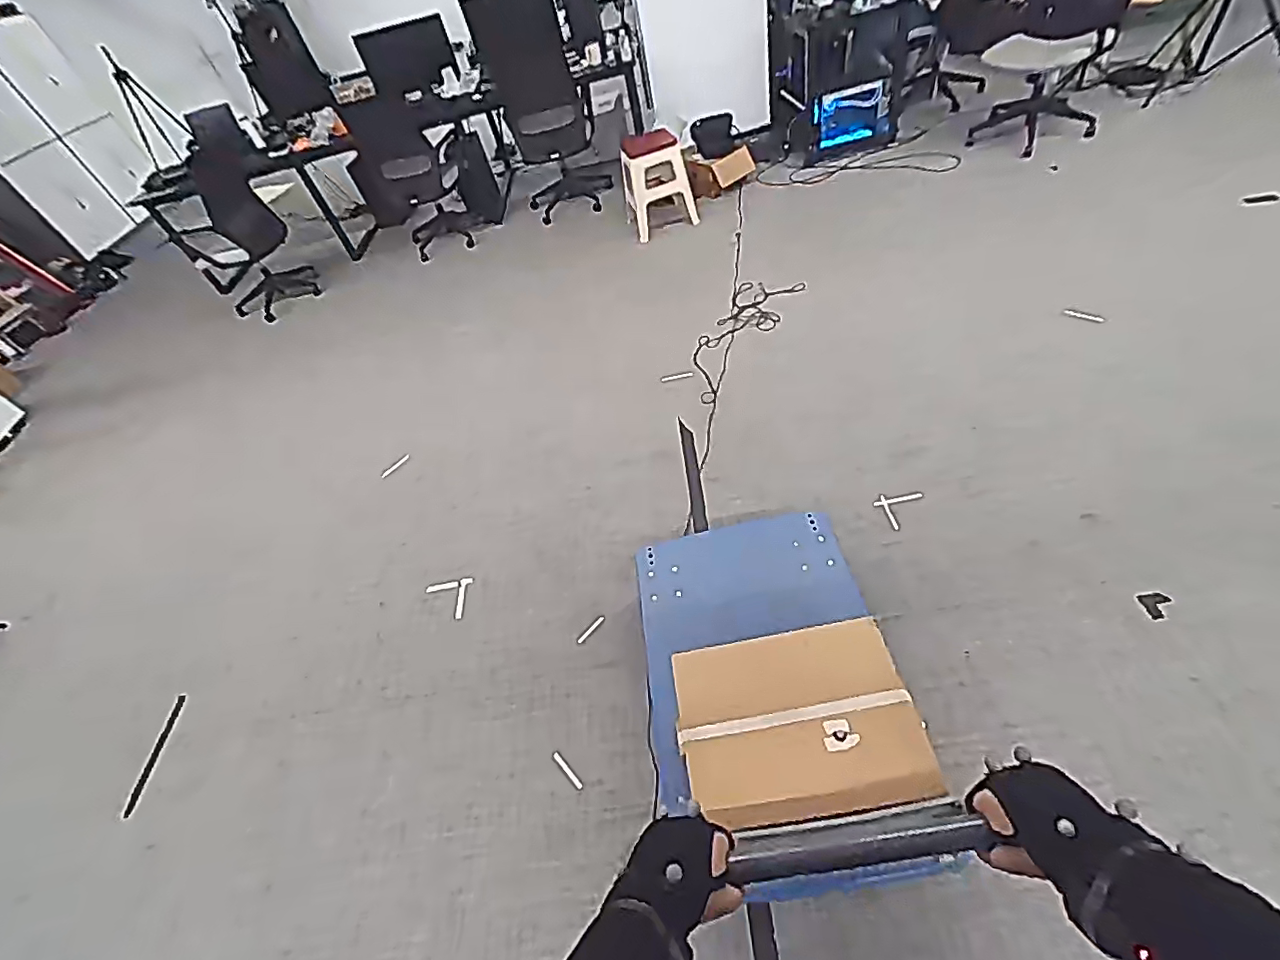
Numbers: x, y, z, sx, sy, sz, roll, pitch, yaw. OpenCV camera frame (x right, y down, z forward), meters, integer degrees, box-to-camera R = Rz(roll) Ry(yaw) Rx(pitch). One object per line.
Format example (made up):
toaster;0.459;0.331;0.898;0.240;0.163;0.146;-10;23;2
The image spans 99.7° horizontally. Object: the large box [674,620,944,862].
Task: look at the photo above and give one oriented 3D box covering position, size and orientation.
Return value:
large box;0.307;0.528;1.082;0.408;0.320;0.320;-12;48;4
